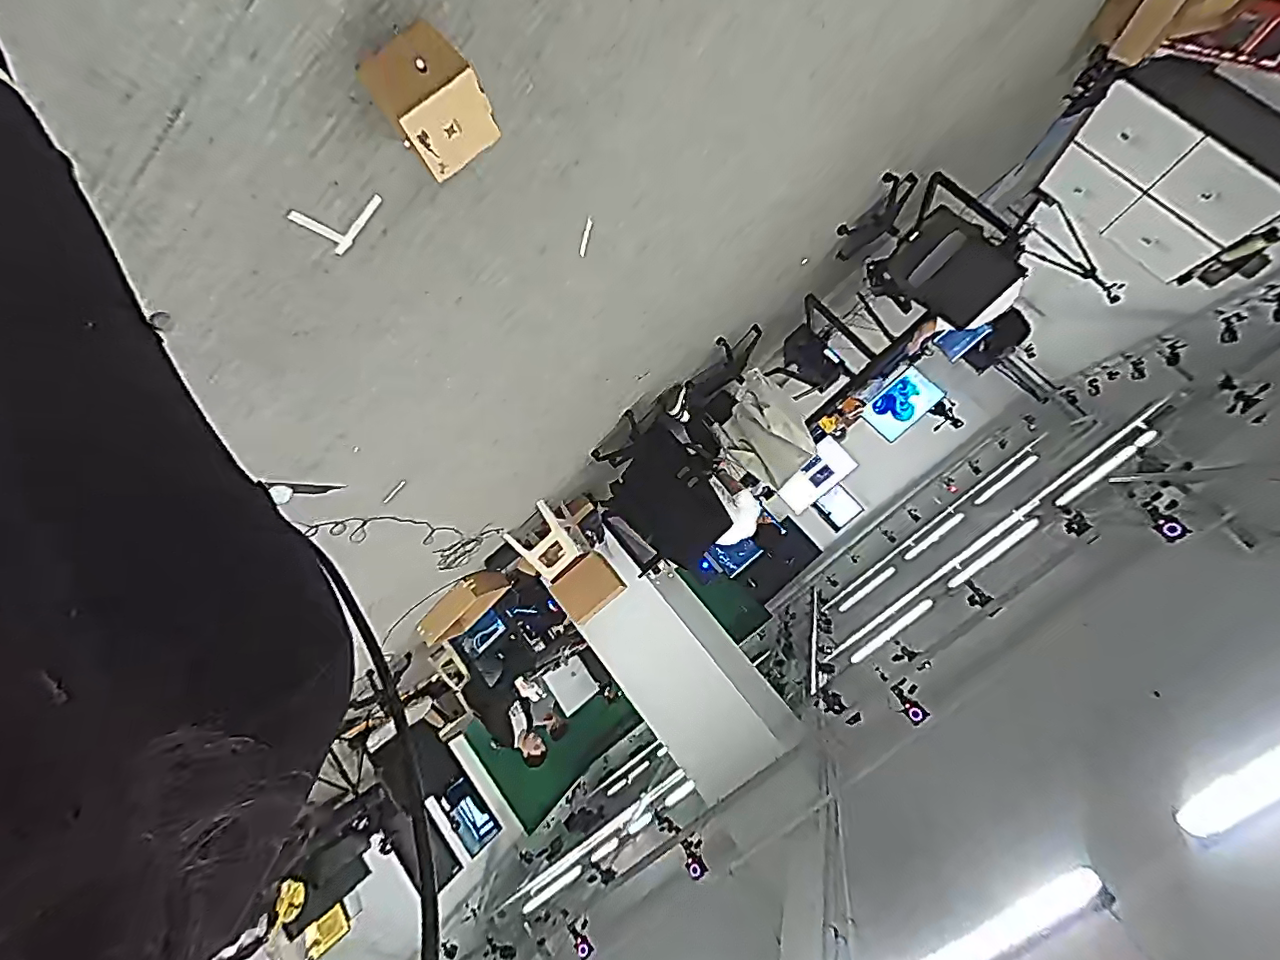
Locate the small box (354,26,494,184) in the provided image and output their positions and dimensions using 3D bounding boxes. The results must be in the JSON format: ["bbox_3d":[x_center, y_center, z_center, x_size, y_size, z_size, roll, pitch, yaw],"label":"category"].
[{"bbox_3d":[-0.440,-0.769,1.111,0.179,0.176,0.168,-40,167,-4],"label":"small box"}]
